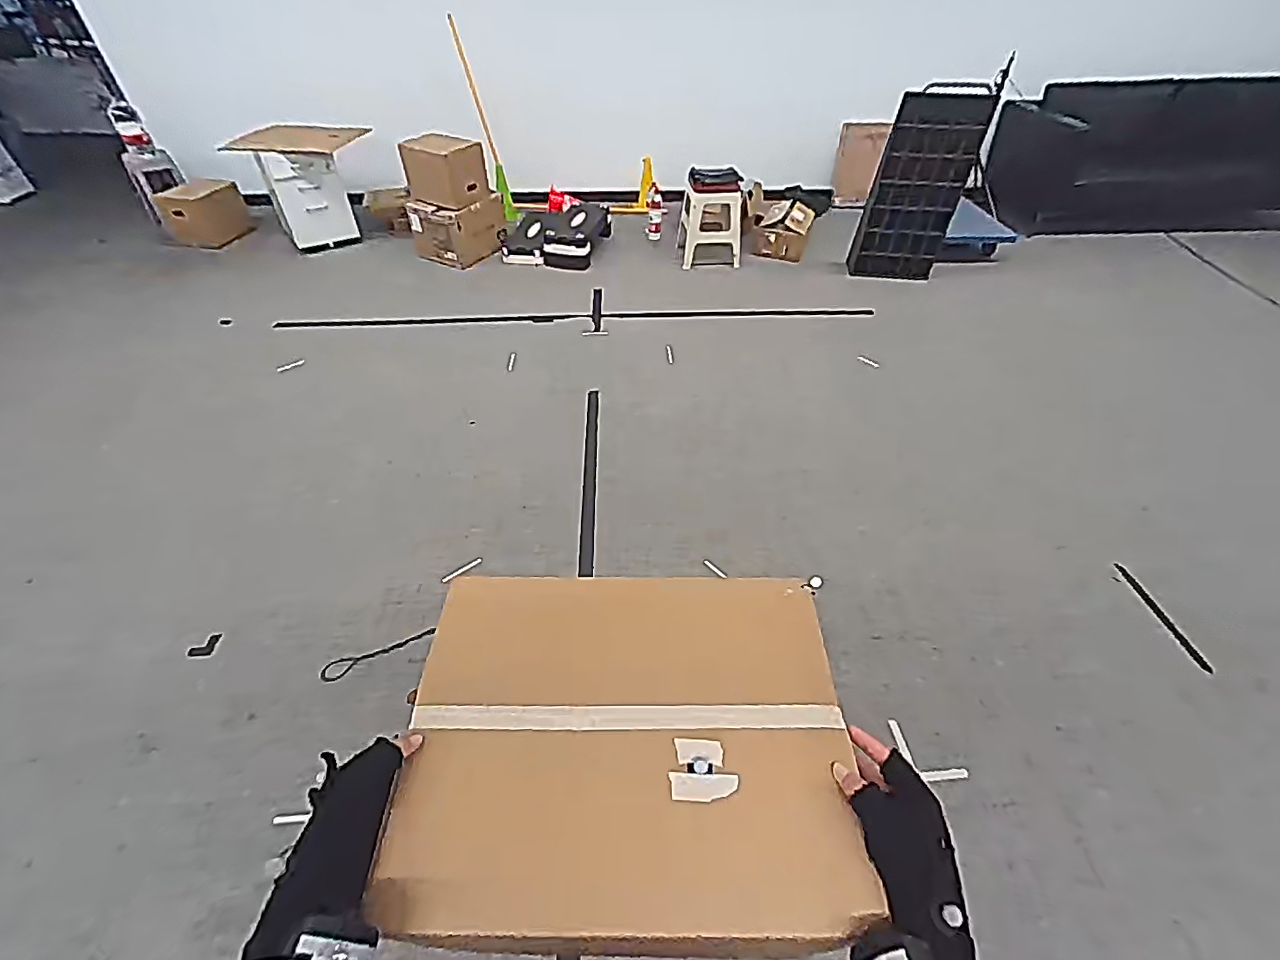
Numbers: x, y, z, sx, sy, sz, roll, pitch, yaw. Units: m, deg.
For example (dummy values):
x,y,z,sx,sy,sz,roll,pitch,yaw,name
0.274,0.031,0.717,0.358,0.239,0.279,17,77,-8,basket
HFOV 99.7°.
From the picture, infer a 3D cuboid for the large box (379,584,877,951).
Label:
x,y,z,sx,sy,sz,roll,pitch,yaw,name
-0.011,0.336,0.633,0.408,0.320,0.320,1,47,0,large box
